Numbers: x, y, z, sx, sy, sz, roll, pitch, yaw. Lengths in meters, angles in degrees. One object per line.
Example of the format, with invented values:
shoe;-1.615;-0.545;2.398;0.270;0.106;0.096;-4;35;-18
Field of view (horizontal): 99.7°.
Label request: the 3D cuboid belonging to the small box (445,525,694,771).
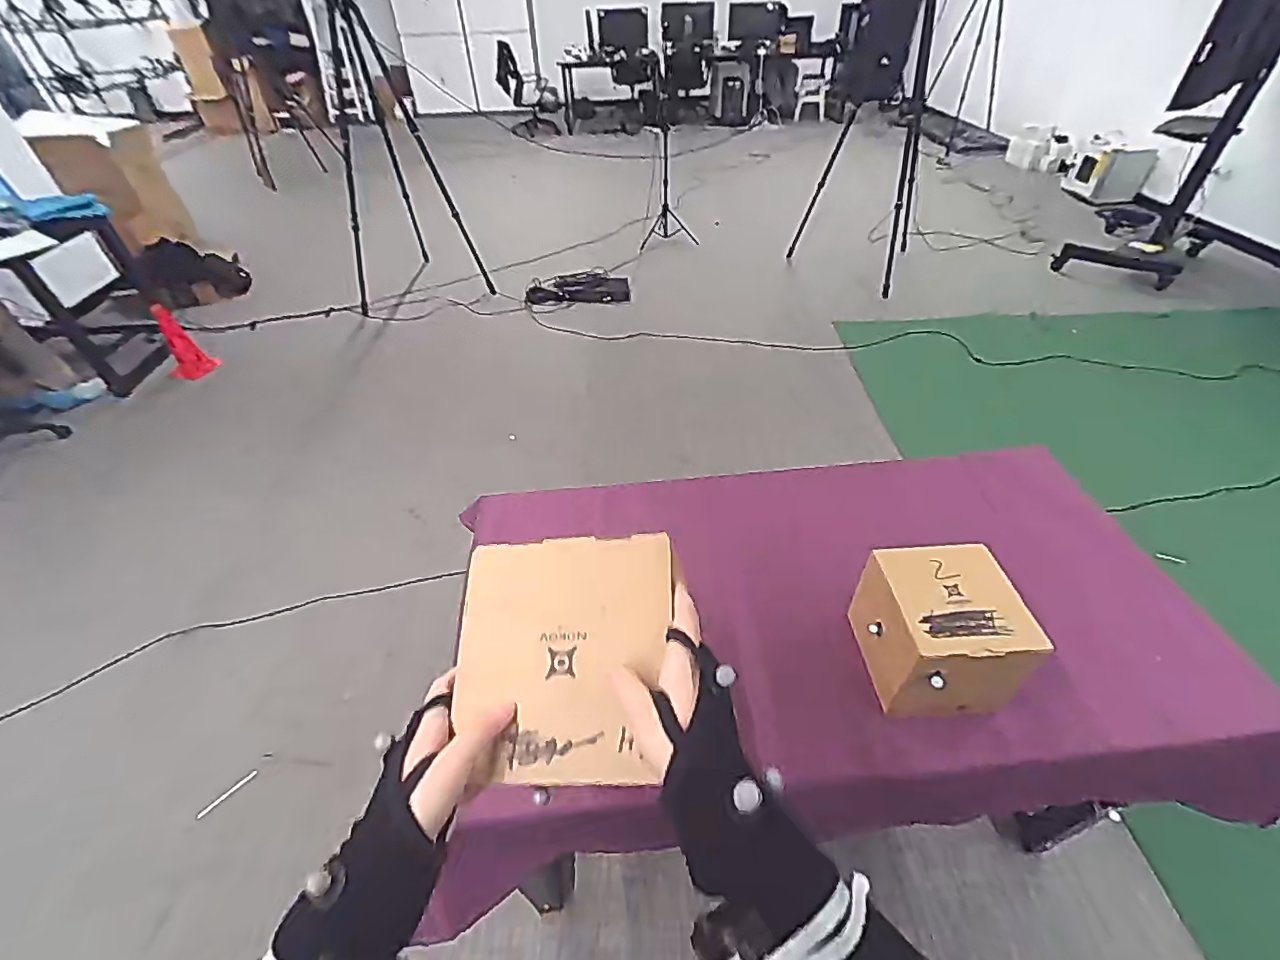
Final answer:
small box;-0.044;0.156;0.477;0.168;0.176;0.179;-6;62;9
